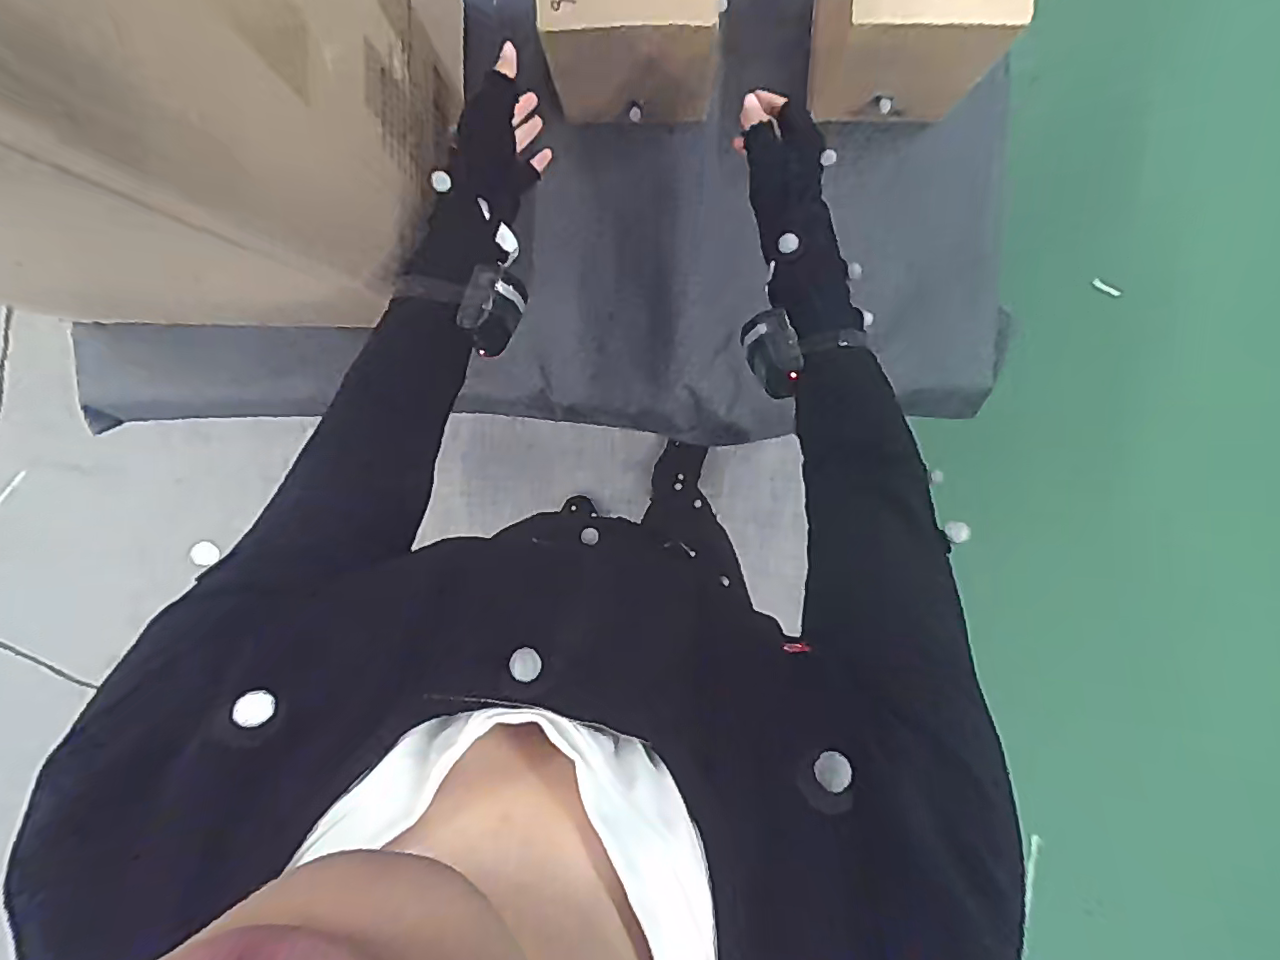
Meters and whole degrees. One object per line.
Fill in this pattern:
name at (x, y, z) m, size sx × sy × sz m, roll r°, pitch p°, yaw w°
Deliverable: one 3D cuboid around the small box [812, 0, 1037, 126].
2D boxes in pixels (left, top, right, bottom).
small box at (0.291, -0.518, 0.576) m, size 0.168 × 0.176 × 0.179 m, roll 3°, pitch 96°, yaw 2°
